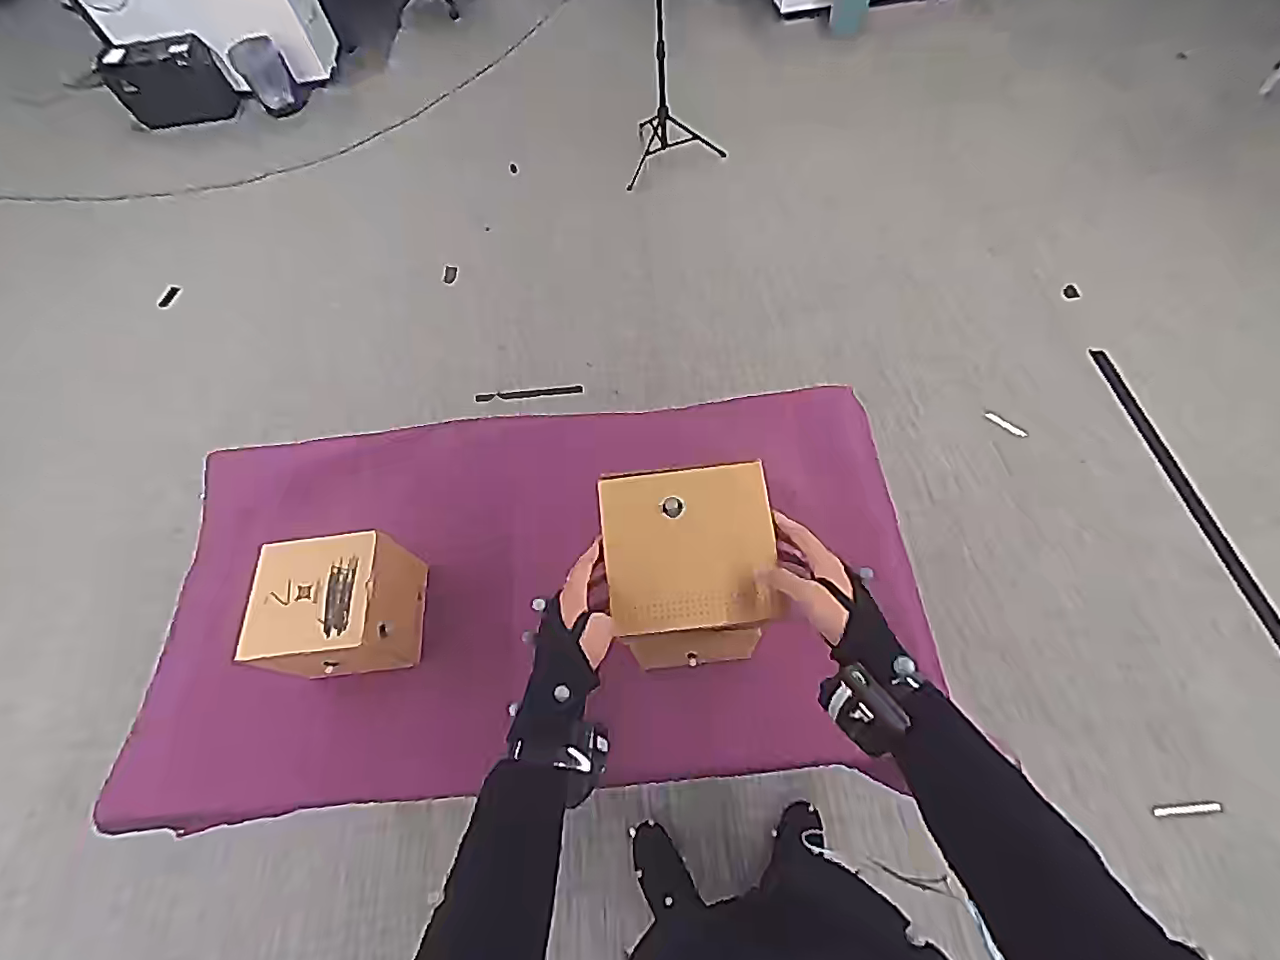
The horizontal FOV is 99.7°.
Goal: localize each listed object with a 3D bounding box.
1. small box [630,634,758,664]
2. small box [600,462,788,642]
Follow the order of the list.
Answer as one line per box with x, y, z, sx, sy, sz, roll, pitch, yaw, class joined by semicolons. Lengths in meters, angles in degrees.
0.070;0.165;0.785;0.168;0.176;0.179;-6;62;2;small box
0.057;0.094;0.624;0.179;0.168;0.176;-7;72;2;small box
